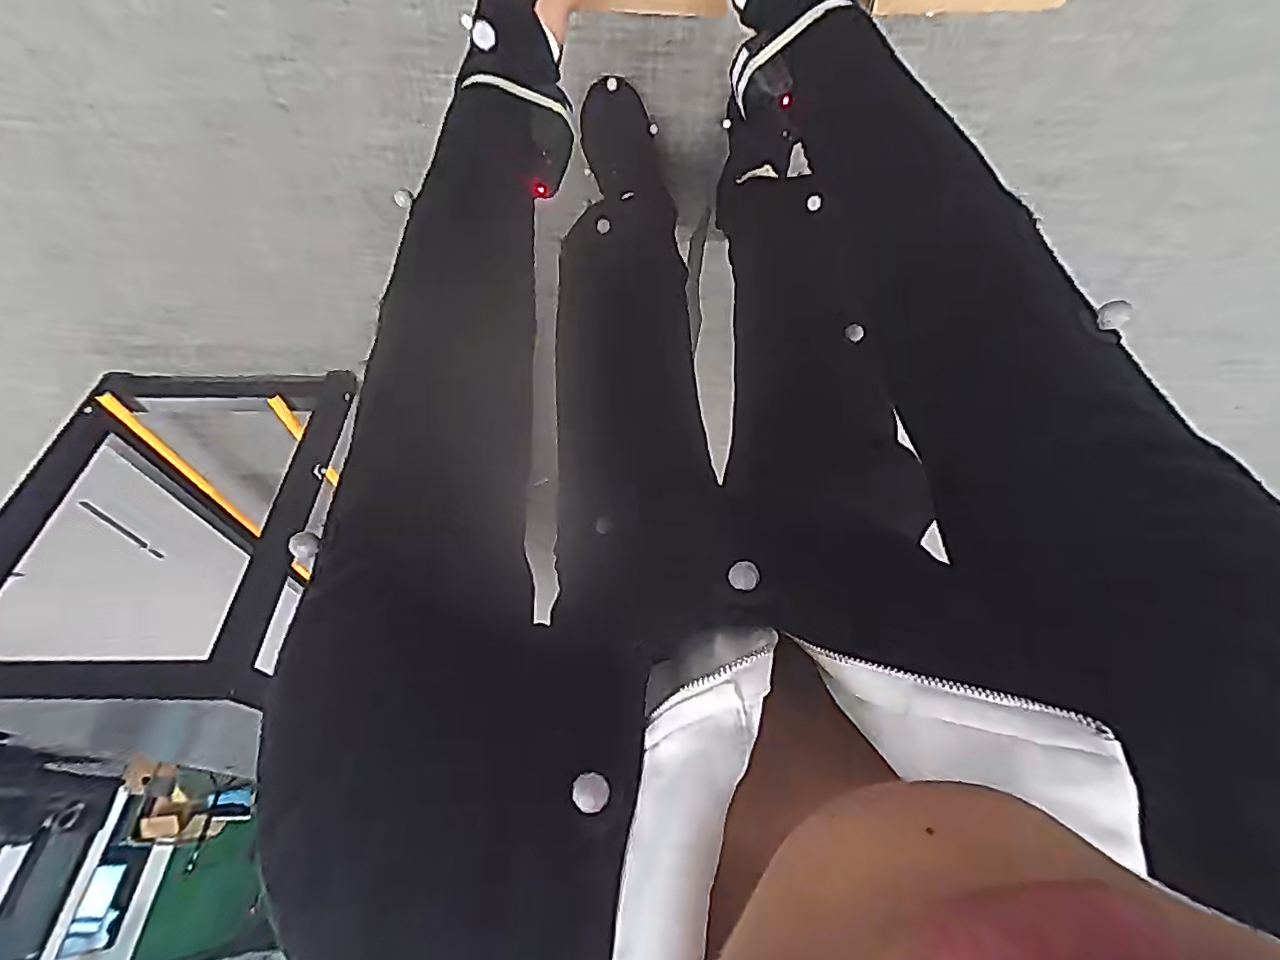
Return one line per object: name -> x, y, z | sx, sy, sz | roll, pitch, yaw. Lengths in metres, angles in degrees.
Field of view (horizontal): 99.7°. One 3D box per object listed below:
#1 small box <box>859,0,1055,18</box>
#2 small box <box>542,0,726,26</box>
small box -> 0.282, -0.531, 0.470 | 0.179, 0.176, 0.168 | -2, 146, -1
small box -> -0.003, -0.529, 0.461 | 0.168, 0.176, 0.179 | 1, 147, -2
